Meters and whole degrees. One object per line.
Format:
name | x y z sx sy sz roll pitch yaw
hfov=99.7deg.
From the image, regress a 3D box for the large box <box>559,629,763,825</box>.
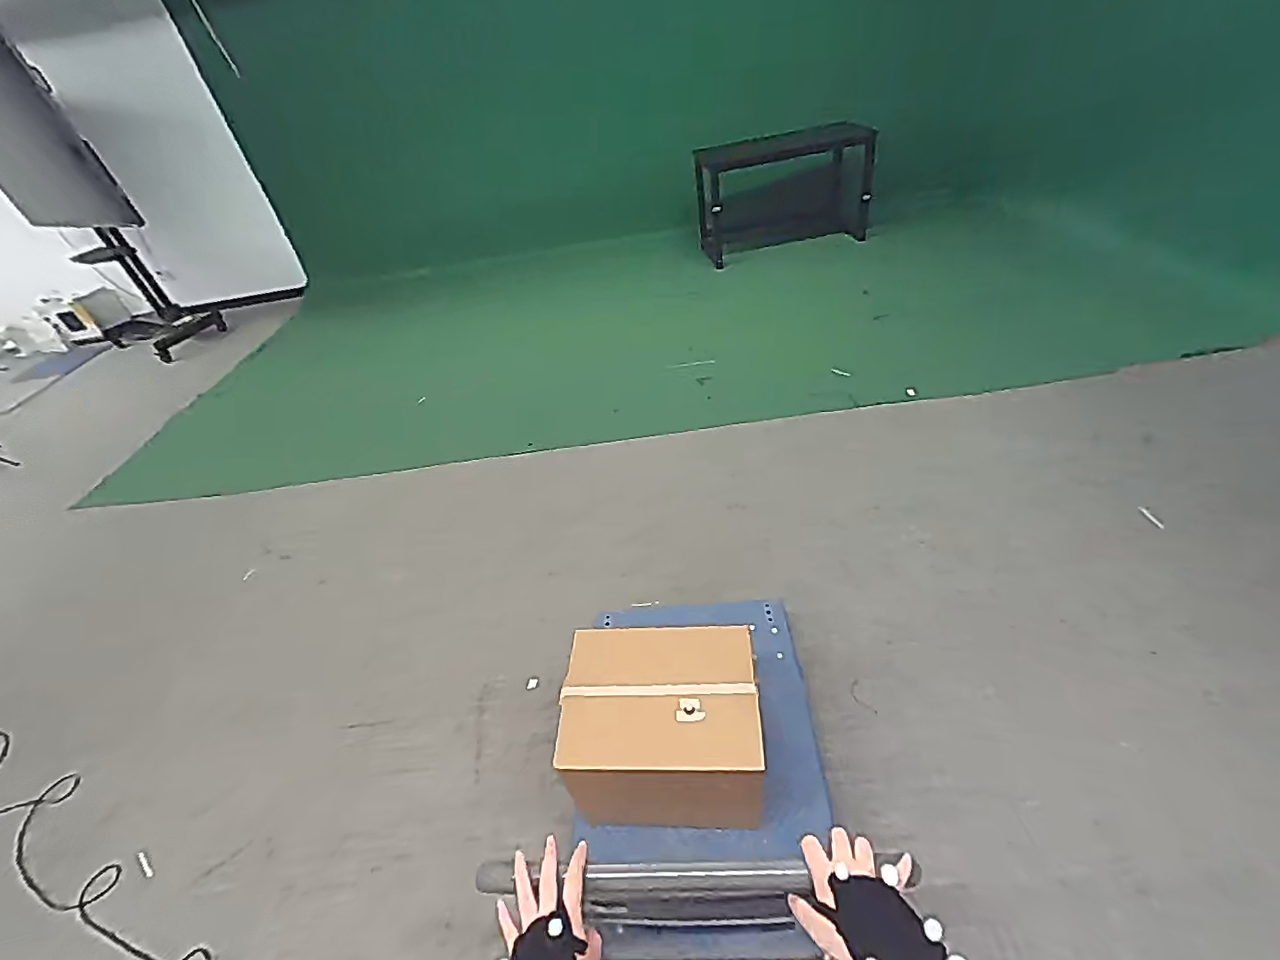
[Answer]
large box | 0.057 0.566 1.241 0.408 0.320 0.320 -3 40 7
